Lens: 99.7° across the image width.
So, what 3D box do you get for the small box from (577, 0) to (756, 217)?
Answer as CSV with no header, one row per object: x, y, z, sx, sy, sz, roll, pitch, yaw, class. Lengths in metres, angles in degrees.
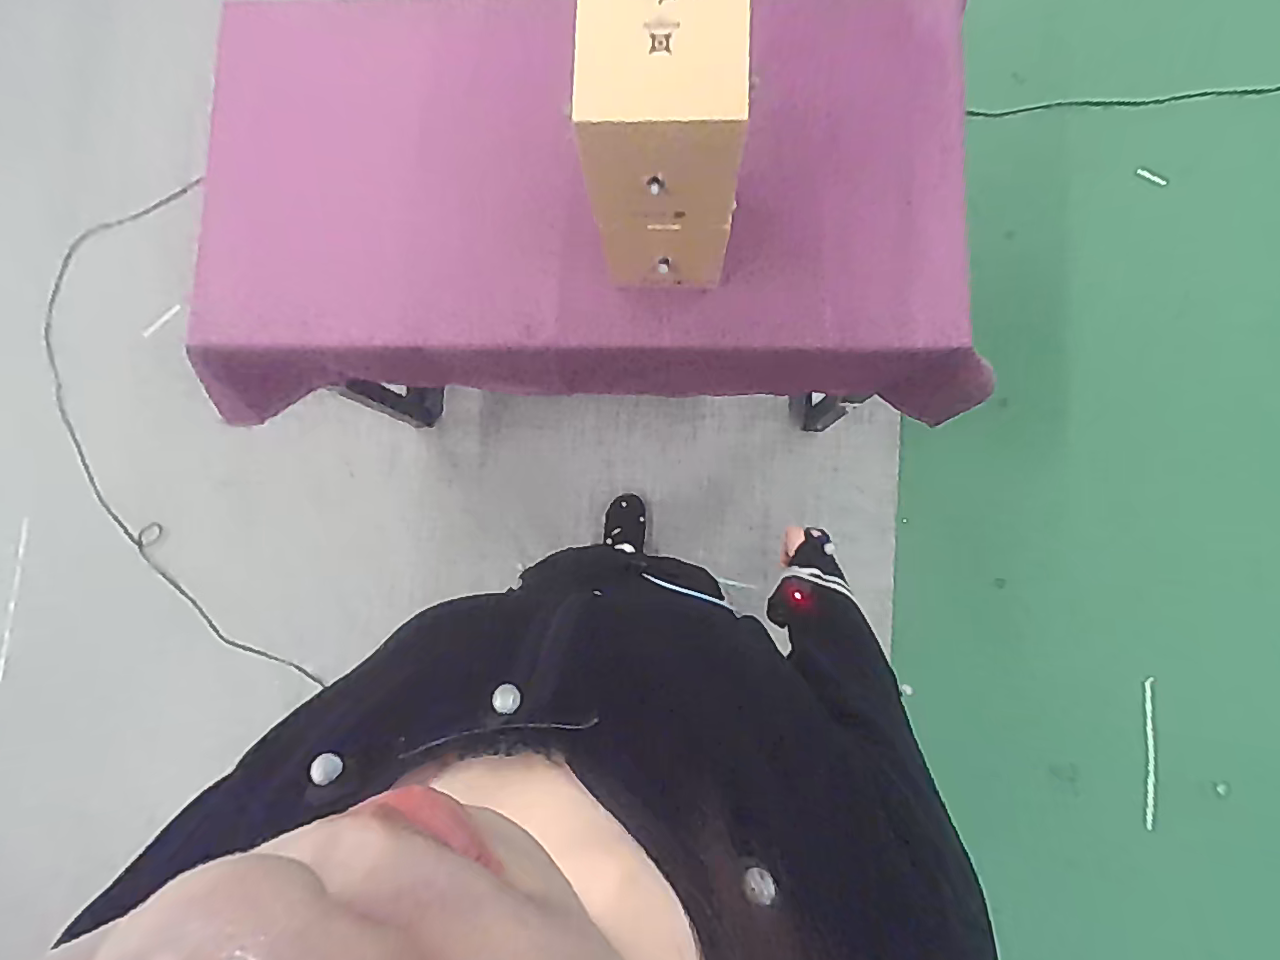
0.031,-0.410,0.585,0.168,0.176,0.179,2,84,3,small box

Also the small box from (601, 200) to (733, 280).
0.042,-0.394,0.750,0.168,0.176,0.179,2,85,3,small box
